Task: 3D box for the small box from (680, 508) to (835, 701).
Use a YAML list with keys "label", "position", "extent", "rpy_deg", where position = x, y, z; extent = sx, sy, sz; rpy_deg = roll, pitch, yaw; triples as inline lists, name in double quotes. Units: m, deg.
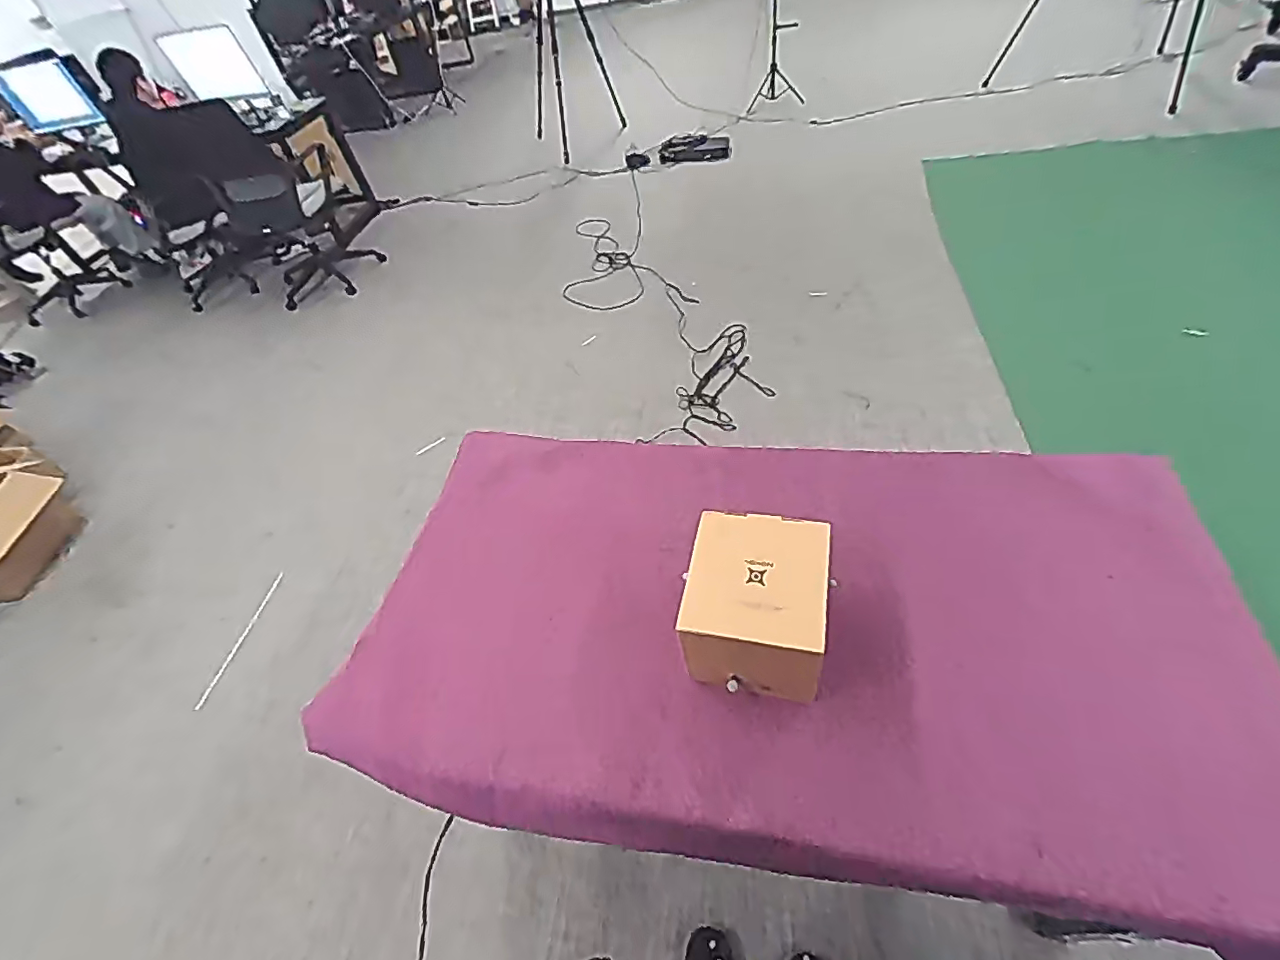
- label: "small box"
  position: [0.156, 0.162, 0.706]
  extent: [0.168, 0.176, 0.179]
  rpy_deg: [5, 52, 17]
